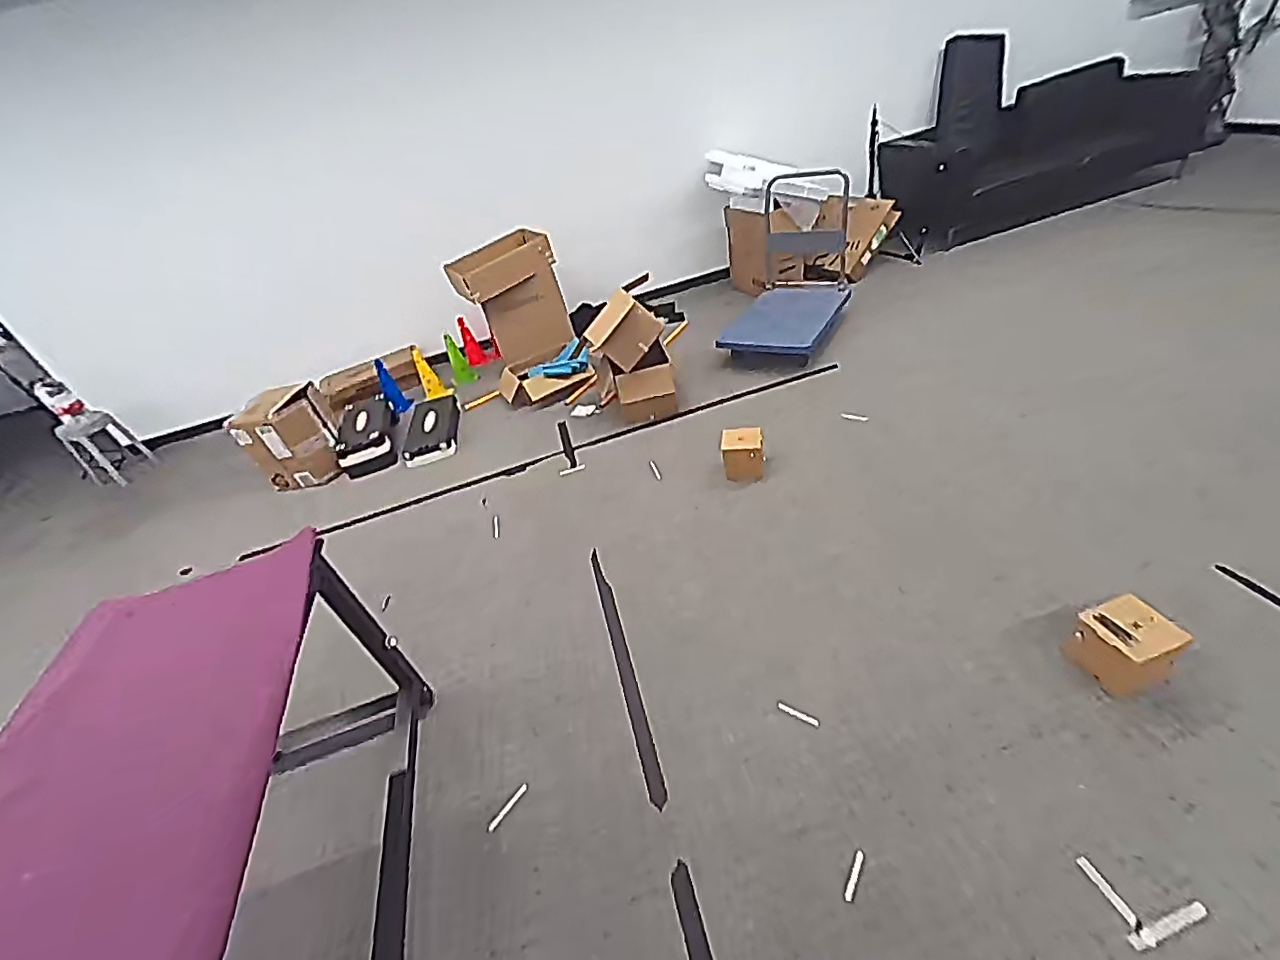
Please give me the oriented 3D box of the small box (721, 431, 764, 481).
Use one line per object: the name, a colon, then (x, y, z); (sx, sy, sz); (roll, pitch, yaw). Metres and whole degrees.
small box: (0.469, -0.107, 2.468); (0.179, 0.176, 0.168); (-3, 37, 15)
